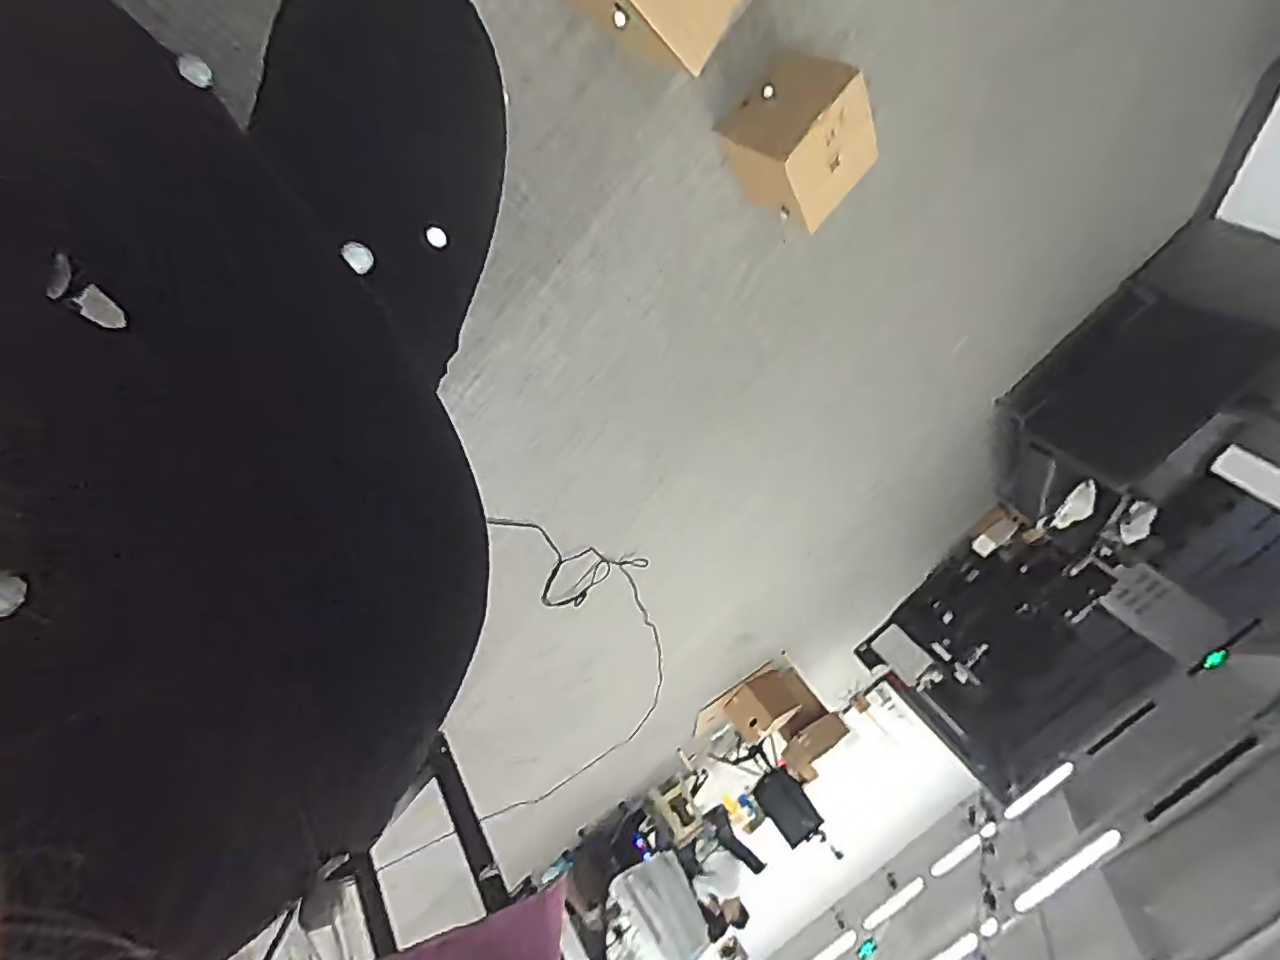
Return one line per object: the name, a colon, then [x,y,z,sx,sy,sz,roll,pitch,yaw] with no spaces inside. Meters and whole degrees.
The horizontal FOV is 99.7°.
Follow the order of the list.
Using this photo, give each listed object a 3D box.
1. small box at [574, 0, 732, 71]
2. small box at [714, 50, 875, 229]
small box: [0.004,-0.607,0.600,0.179,0.176,0.168,7,124,-50]
small box: [0.257,-0.568,0.904,0.168,0.176,0.179,-49,146,10]
